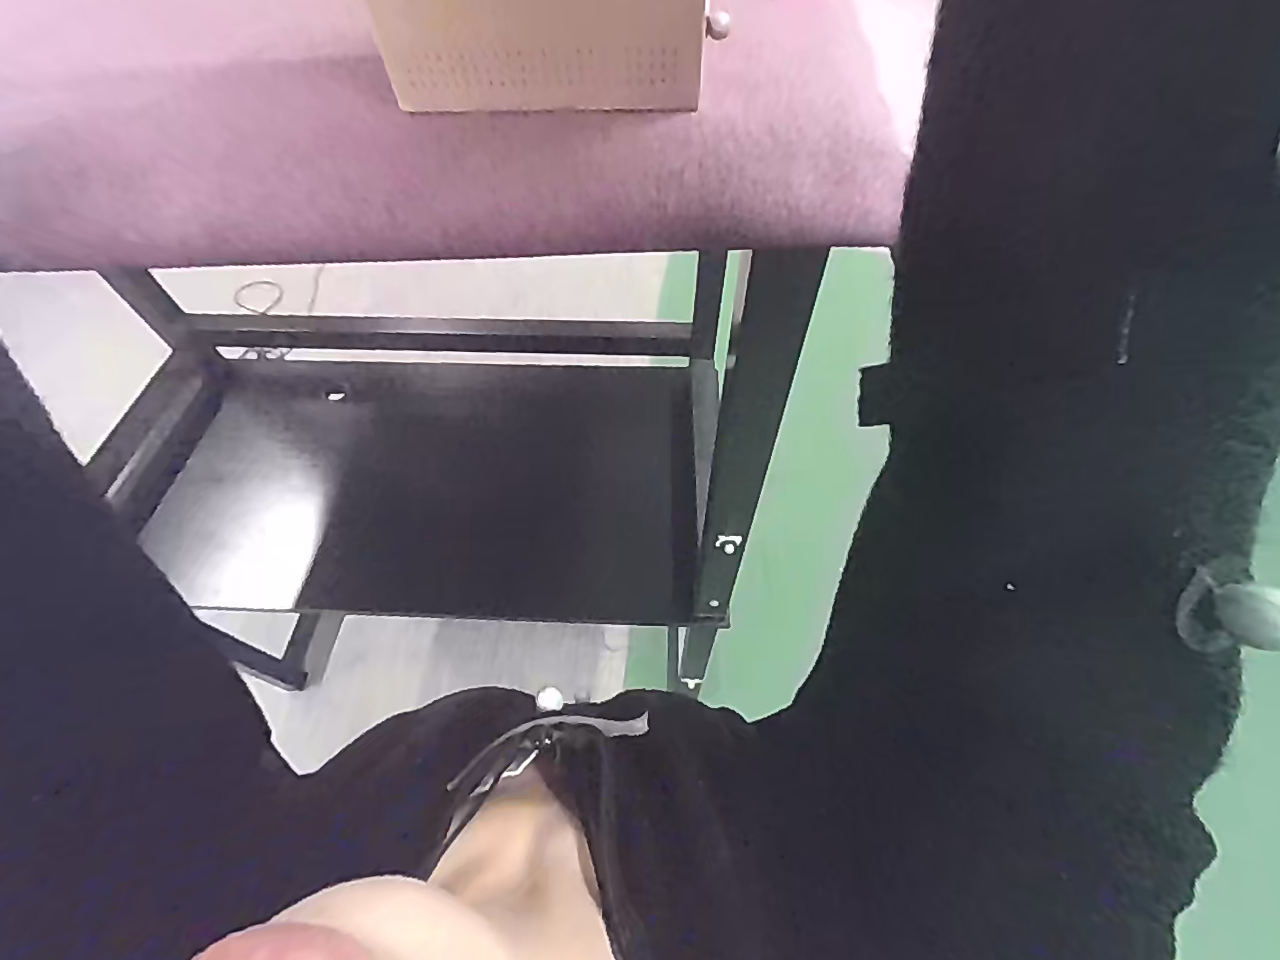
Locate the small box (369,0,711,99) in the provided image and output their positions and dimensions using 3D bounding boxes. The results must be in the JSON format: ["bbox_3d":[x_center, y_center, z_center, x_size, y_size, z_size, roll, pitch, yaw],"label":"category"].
[{"bbox_3d":[-0.047,-0.323,0.278,0.179,0.176,0.168,1,55,4],"label":"small box"}]
